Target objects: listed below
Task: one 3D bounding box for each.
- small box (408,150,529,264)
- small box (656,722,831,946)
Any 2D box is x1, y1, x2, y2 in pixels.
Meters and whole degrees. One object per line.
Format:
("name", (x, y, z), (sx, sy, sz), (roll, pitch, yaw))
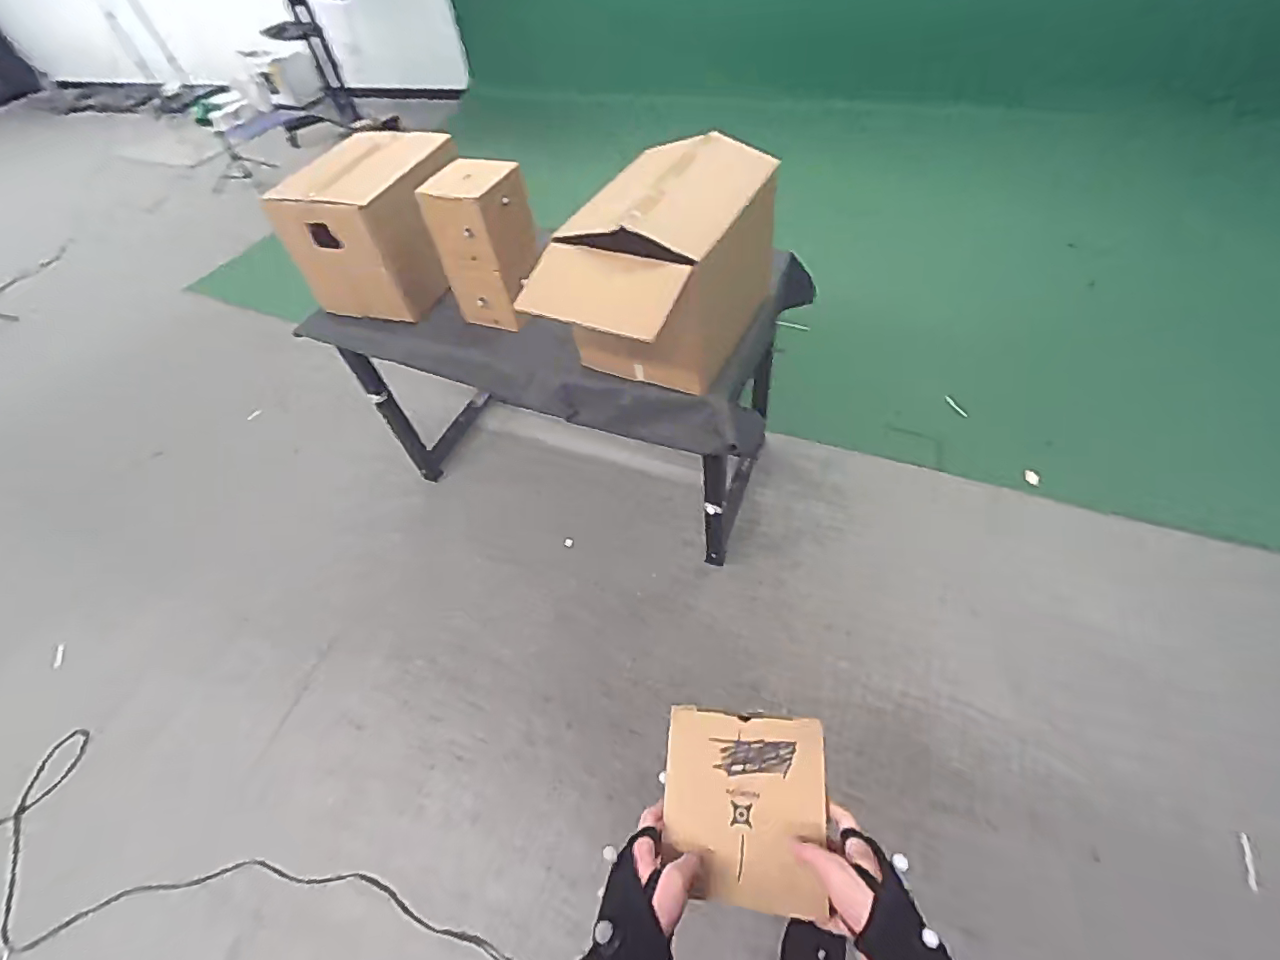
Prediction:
("small box", (-0.369, -0.606, 1.206), (0.168, 0.176, 0.179), (16, 55, 17))
("small box", (0.117, 0.377, 0.614), (0.168, 0.176, 0.179), (0, 67, 12))
